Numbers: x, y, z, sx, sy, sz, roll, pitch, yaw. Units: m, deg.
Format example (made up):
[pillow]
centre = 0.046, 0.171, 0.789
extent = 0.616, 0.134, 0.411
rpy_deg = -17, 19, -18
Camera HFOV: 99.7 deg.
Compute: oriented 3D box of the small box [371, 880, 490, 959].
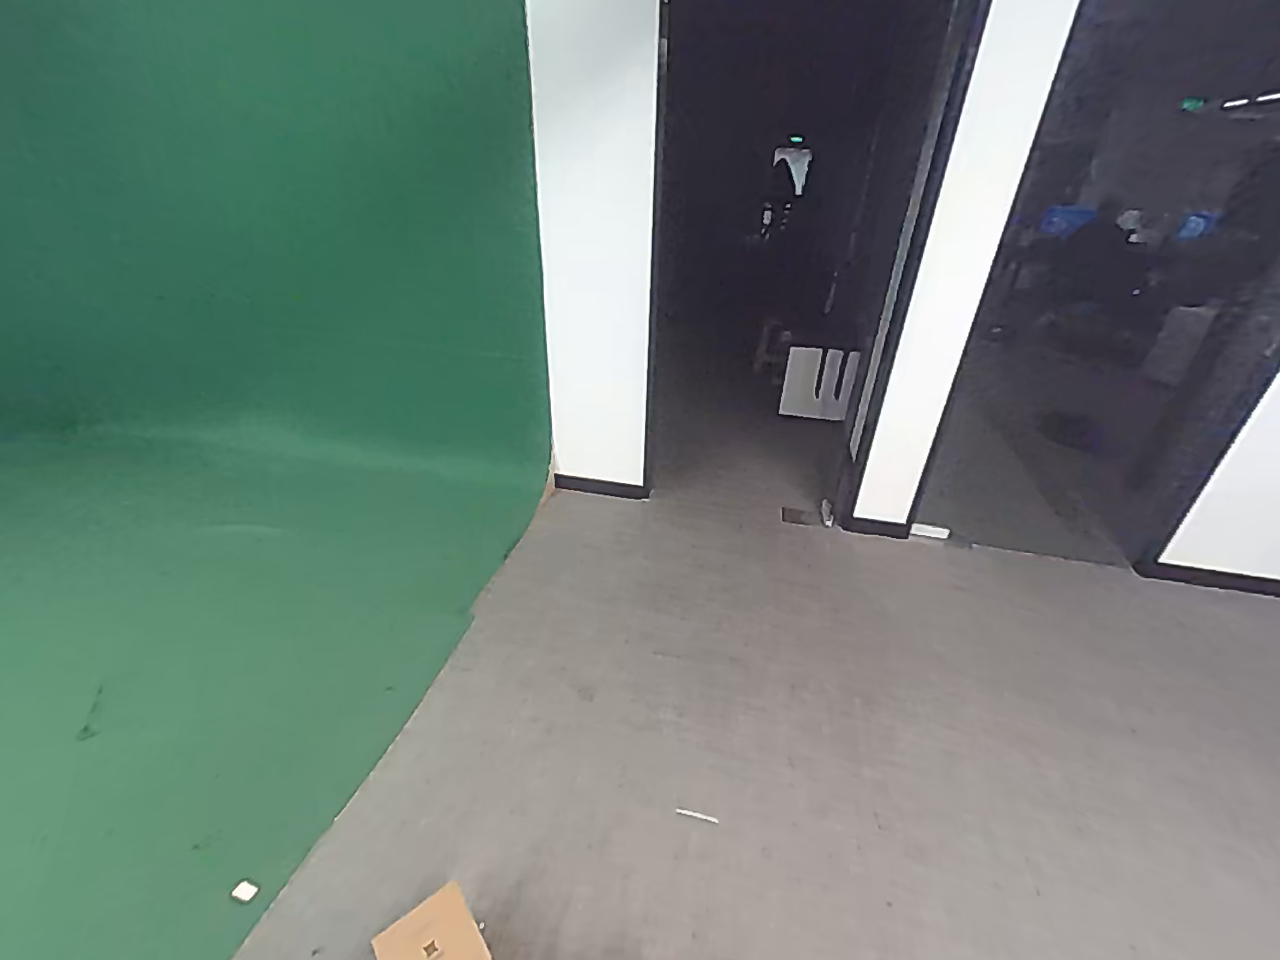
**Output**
[small box]
centre = -0.385, 0.931, 1.028
extent = 0.168, 0.176, 0.179
rpy_deg = -21, 36, -35
